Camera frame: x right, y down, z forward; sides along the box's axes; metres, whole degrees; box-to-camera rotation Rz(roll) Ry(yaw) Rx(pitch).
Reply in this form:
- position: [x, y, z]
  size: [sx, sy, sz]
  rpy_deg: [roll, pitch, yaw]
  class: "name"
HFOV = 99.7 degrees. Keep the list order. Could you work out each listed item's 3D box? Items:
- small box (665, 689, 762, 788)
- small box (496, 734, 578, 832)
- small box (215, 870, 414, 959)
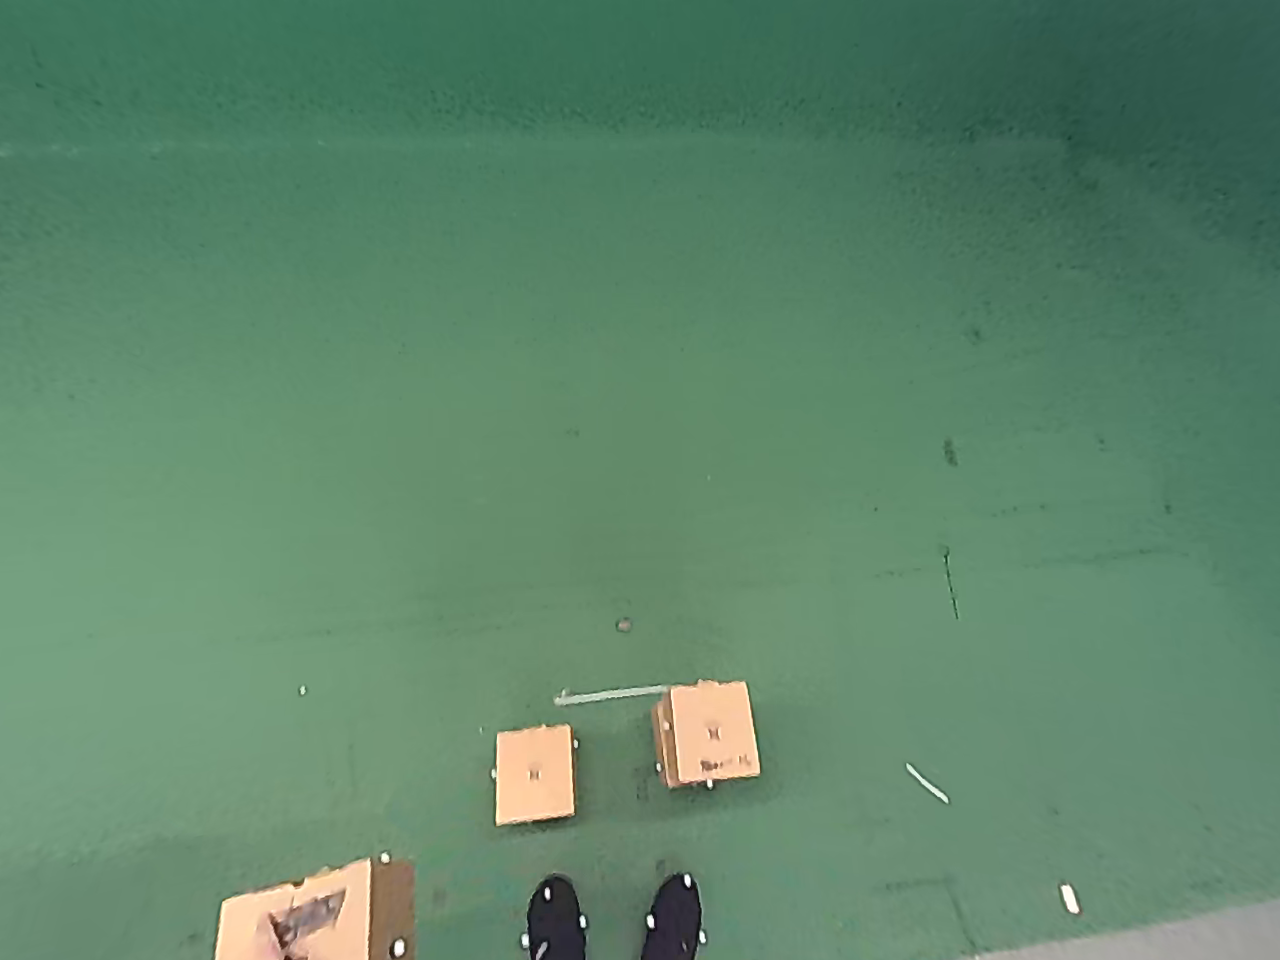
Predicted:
- position: [0.147, 0.553, 1.152]
  size: [0.168, 0.176, 0.179]
  rpy_deg: [-2, 62, -5]
  class: "small box"
- position: [-0.231, 0.690, 1.241]
  size: [0.168, 0.176, 0.179]
  rpy_deg: [-4, 61, -6]
  class: "small box"
- position: [-0.383, 0.595, 0.650]
  size: [0.168, 0.176, 0.179]
  rpy_deg: [-10, 56, -8]
  class: "small box"
